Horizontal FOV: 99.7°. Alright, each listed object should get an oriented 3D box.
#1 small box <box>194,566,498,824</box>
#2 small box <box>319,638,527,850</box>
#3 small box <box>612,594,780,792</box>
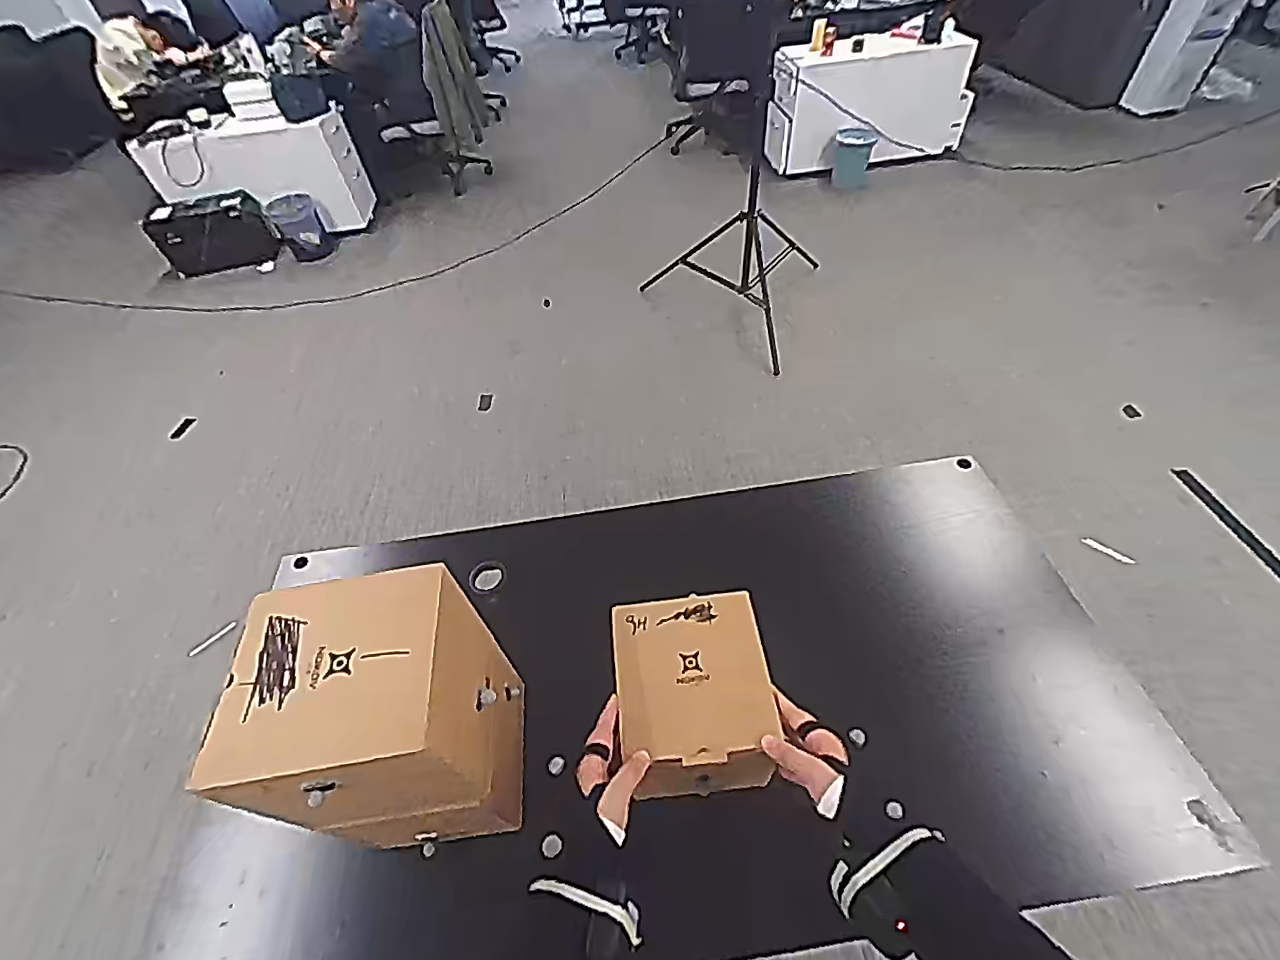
[{"bbox_3d":[-0.246,0.206,0.509,0.179,0.176,0.168,-9,49,-2],"label":"small box"},{"bbox_3d":[-0.234,0.311,0.635,0.168,0.176,0.179,-9,50,-1],"label":"small box"},{"bbox_3d":[0.060,0.261,0.648,0.168,0.176,0.179,-7,50,0],"label":"small box"}]
